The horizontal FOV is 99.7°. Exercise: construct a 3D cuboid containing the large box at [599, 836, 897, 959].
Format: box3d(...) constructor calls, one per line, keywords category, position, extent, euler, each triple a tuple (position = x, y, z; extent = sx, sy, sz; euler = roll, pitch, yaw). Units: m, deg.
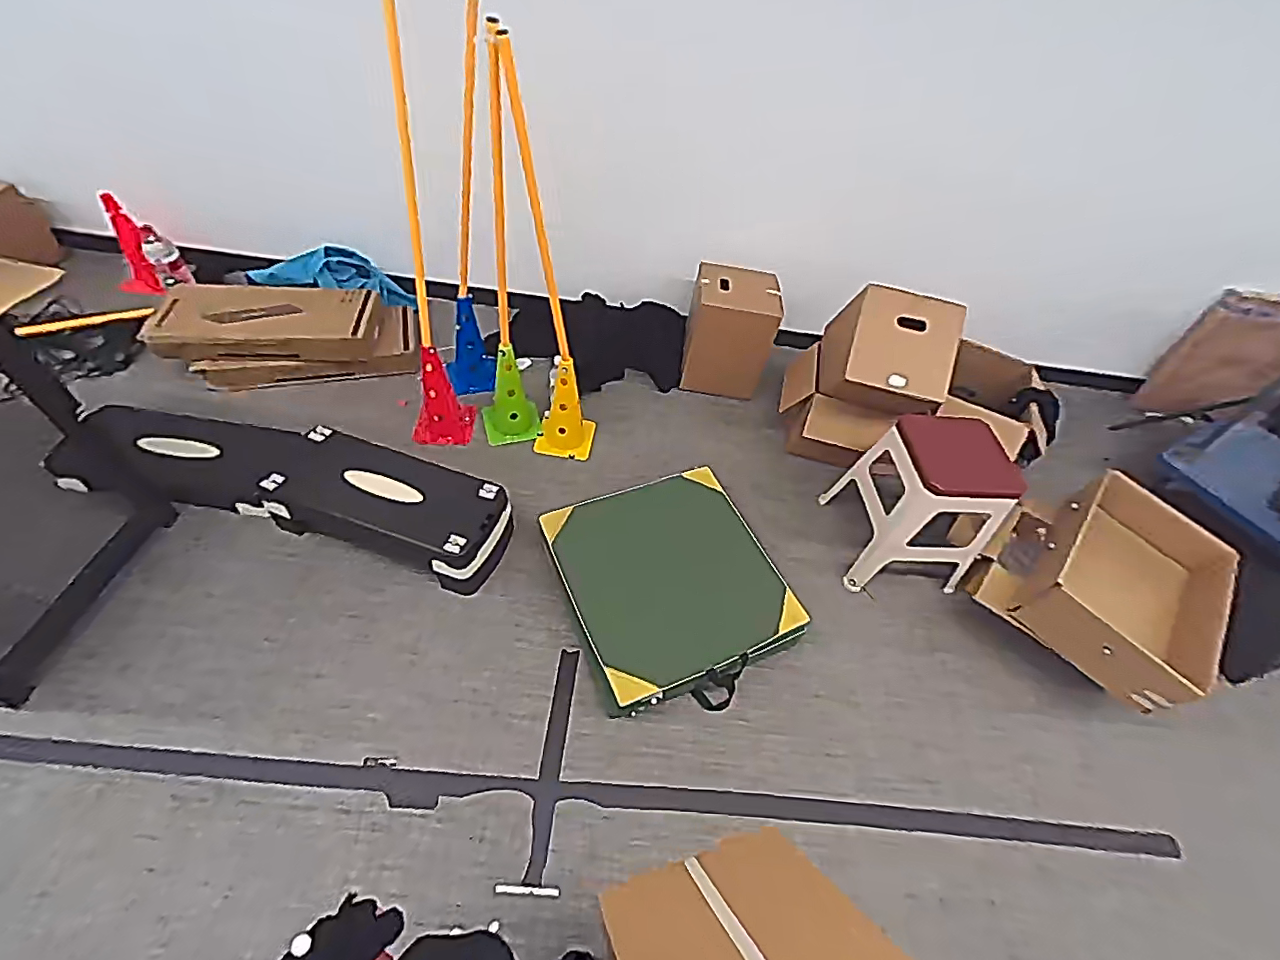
box3d(category="large box", position=(0.162, 0.754, 0.685), extent=(0.320, 0.408, 0.320), euler=(-11, 86, -17))
